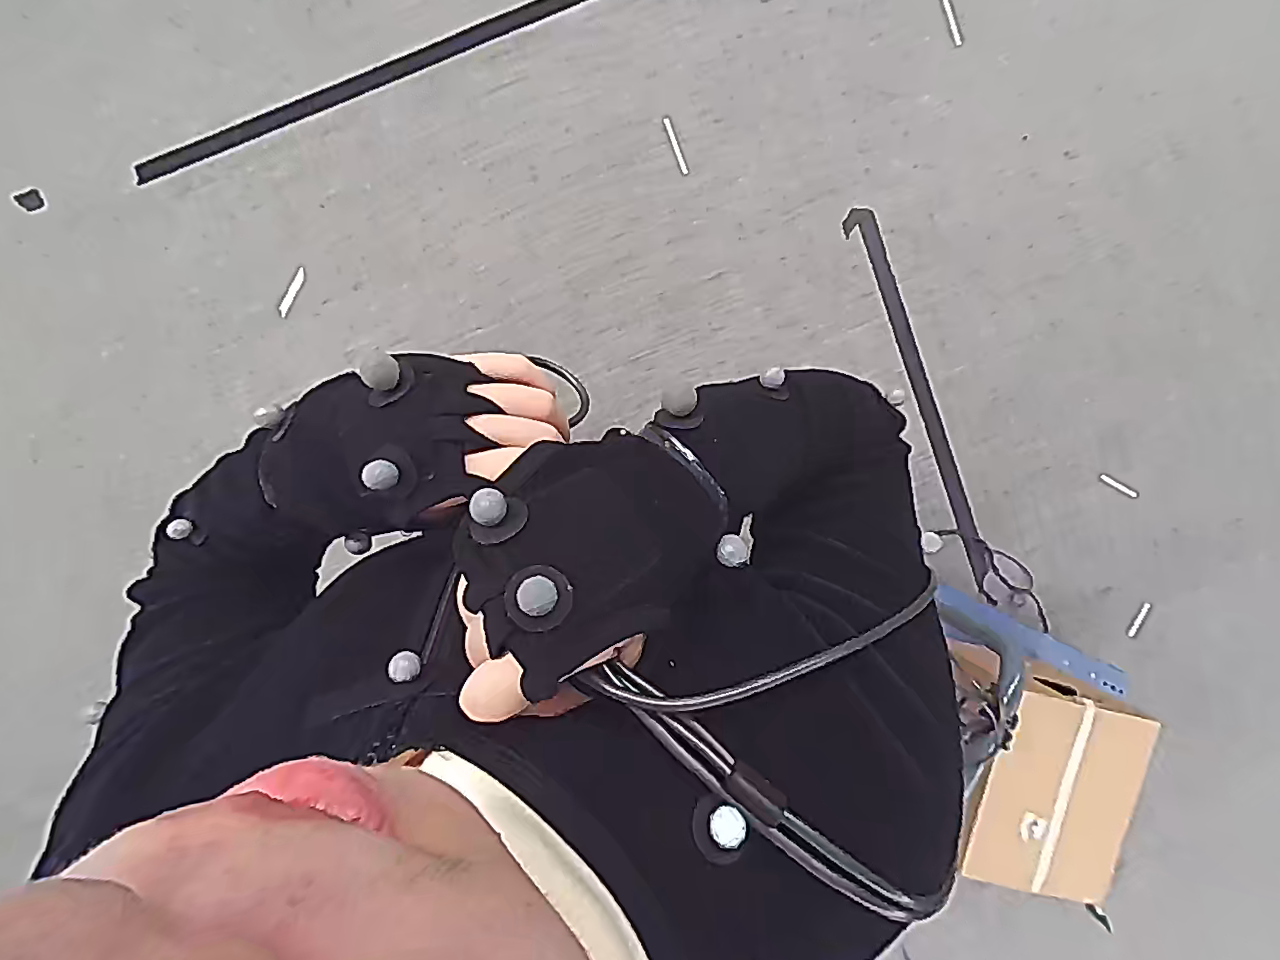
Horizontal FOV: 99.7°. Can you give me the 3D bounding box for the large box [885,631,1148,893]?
[{"bbox_3d":[0.822,0.612,1.235,0.320,0.320,0.408,14,95,-2],"label":"large box"}]
